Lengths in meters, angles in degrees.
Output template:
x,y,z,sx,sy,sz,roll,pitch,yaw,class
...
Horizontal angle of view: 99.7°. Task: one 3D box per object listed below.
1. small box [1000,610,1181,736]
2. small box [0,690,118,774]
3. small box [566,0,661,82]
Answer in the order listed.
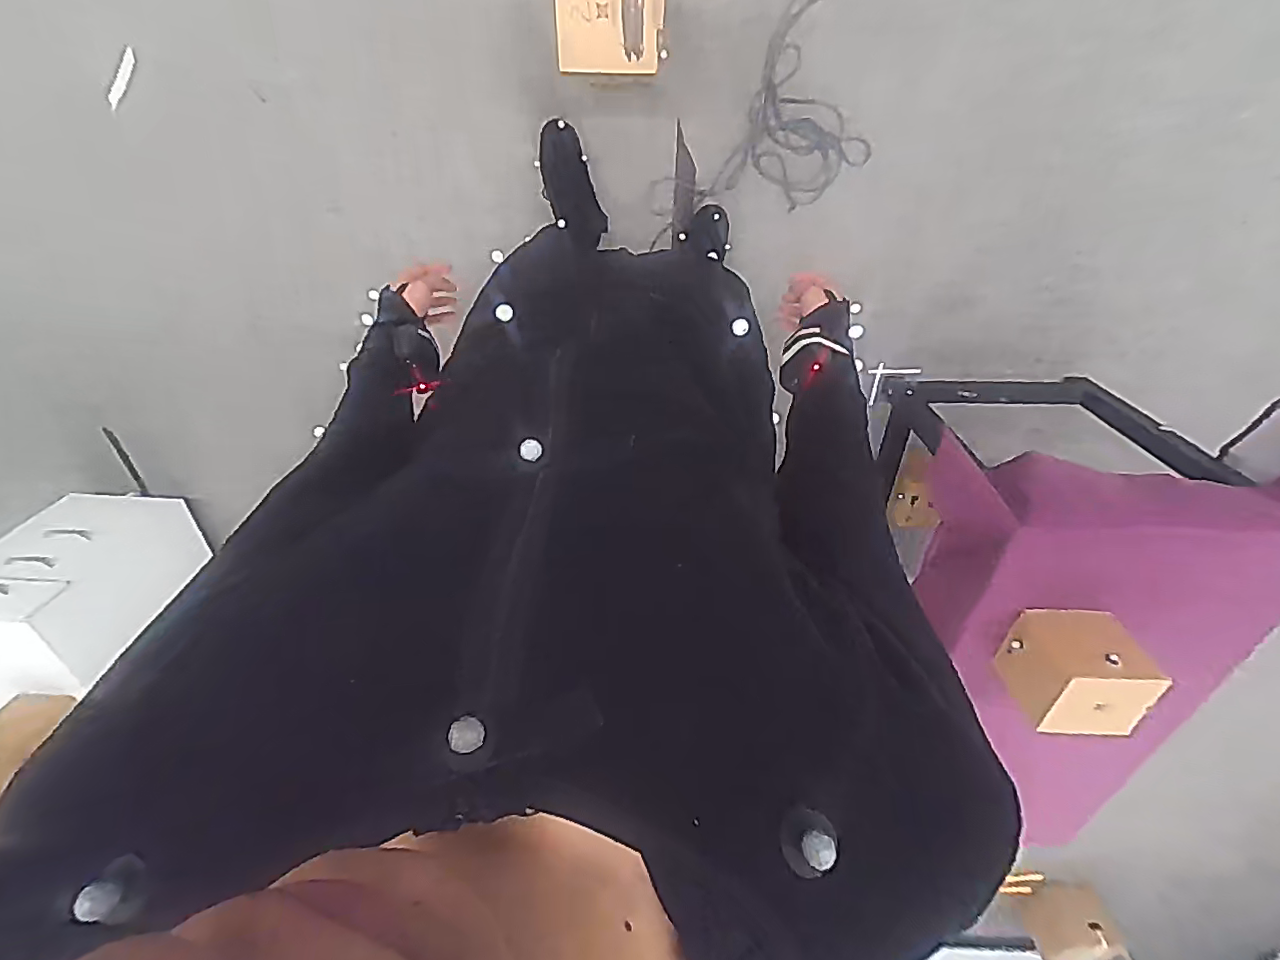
x,y,z,sx,sy,sz,roll,pitch,yaw,class
0.850,0.368,1.044,0.179,0.176,0.168,2,124,2,small box
-1.731,0.744,1.602,0.179,0.176,0.168,2,125,2,small box
-0.048,-0.913,1.095,0.179,0.176,0.168,0,124,2,small box
